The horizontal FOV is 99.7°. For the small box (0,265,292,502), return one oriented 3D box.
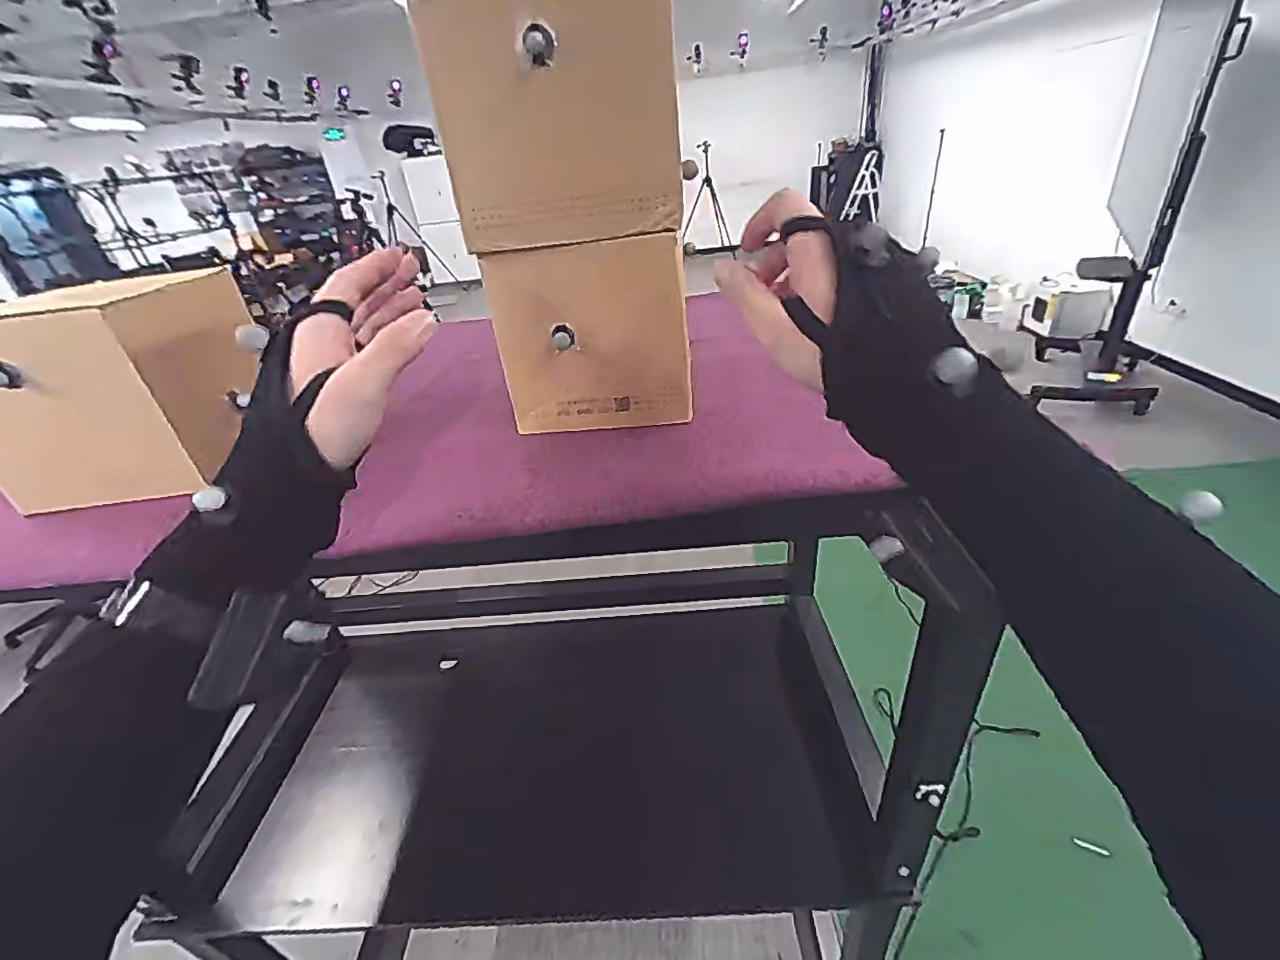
[{"bbox_3d":[-0.482,-0.092,0.509,0.179,0.176,0.168,-7,31,0],"label":"small box"}]

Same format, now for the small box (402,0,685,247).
[{"bbox_3d":[-0.060,-0.296,0.446,0.179,0.176,0.168,-5,31,4],"label":"small box"}]

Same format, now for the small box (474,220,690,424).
[{"bbox_3d":[-0.039,-0.161,0.536,0.168,0.176,0.179,-4,30,7],"label":"small box"}]
